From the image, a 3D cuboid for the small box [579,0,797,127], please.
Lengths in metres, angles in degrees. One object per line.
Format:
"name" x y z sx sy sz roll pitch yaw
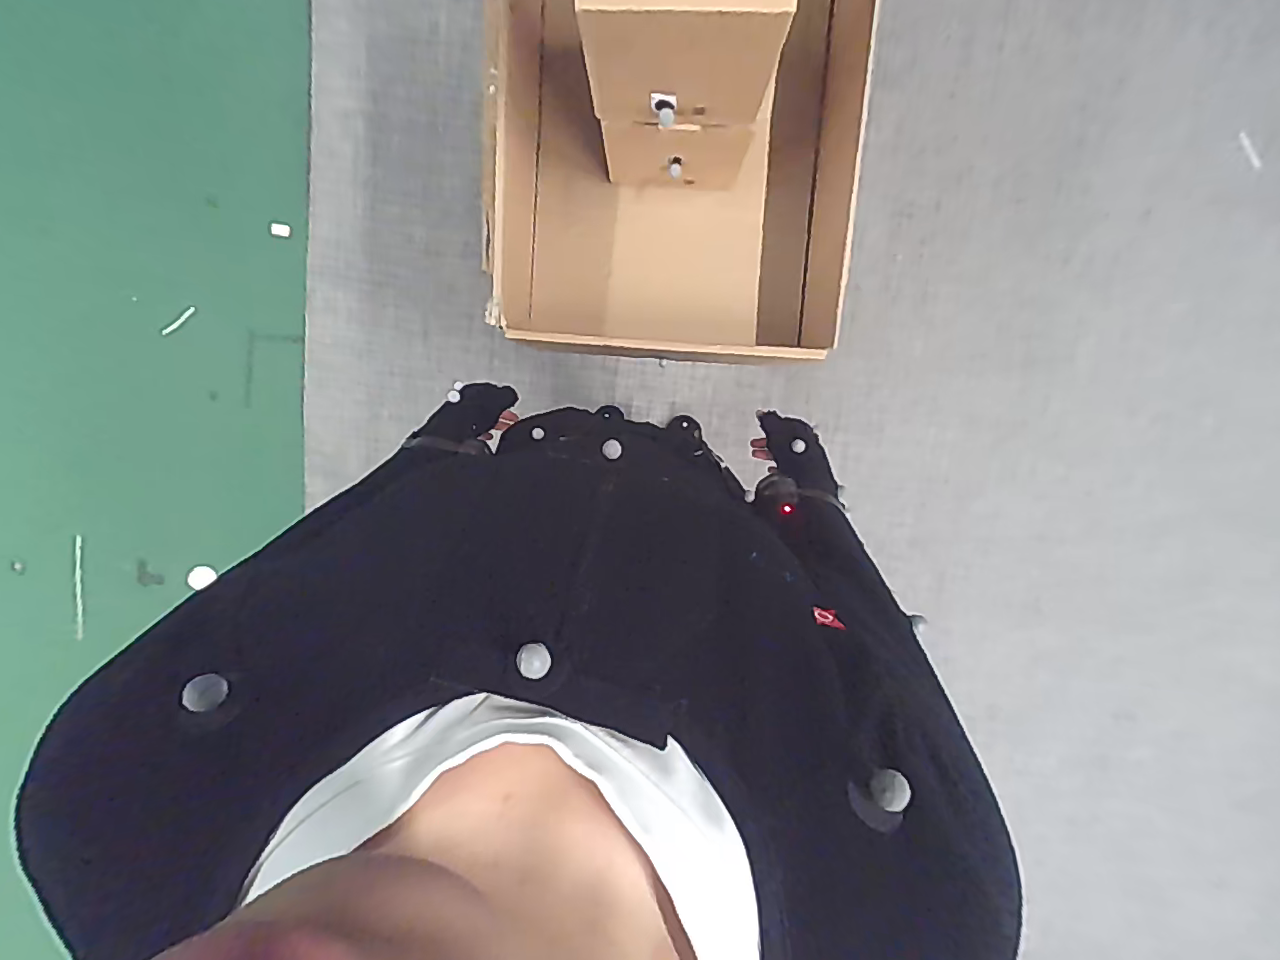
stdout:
"small box" 0.039 -0.442 0.464 0.168 0.176 0.179 2 99 2
